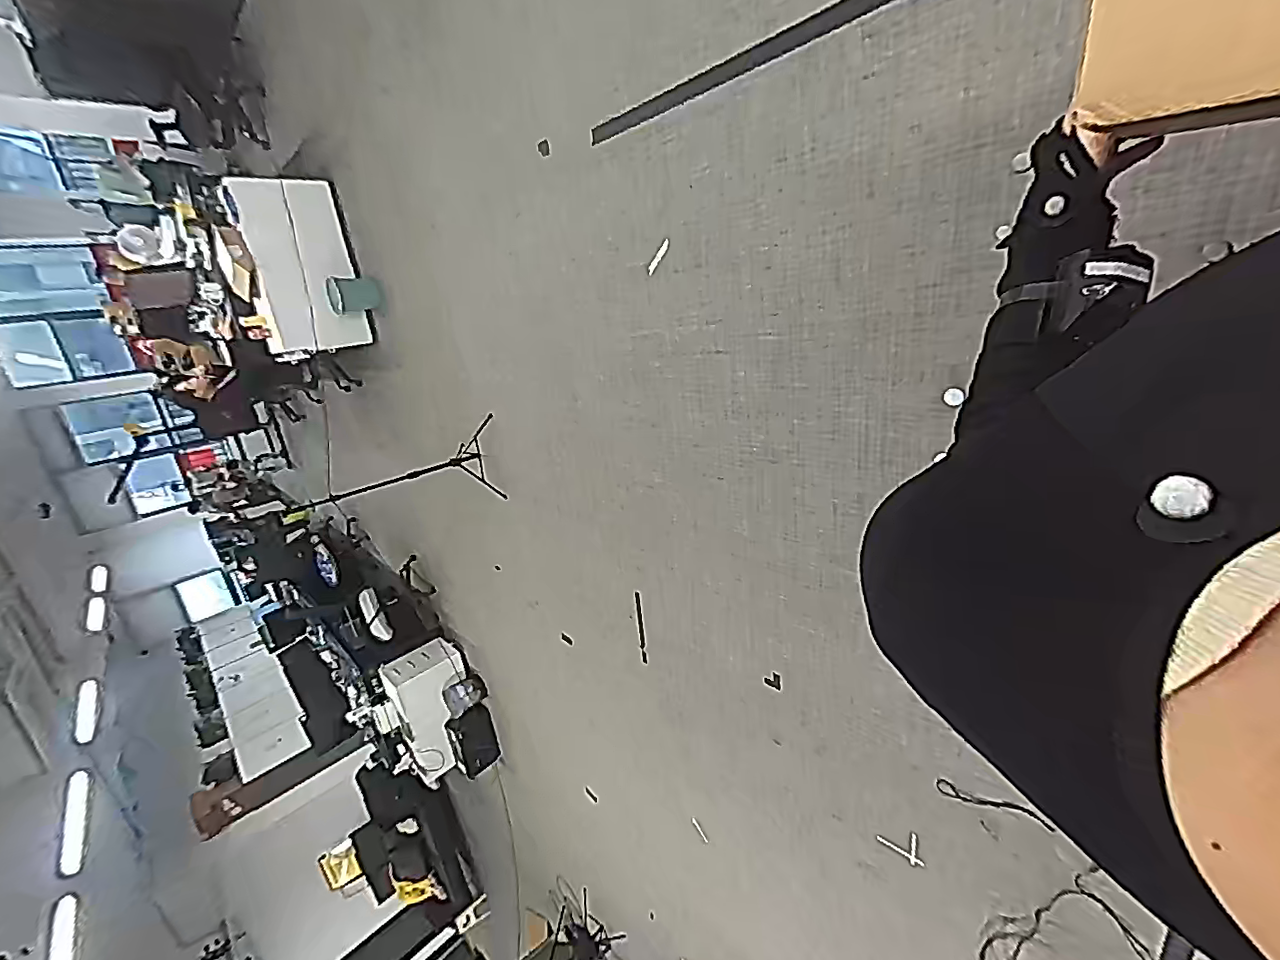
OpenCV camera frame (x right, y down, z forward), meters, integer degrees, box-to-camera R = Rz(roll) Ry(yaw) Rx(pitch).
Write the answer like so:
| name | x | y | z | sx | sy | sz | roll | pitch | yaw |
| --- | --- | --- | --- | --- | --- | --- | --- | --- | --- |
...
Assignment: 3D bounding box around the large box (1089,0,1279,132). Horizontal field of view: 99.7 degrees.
| name | x | y | z | sx | sy | sz | roll | pitch | yaw |
| --- | --- | --- | --- | --- | --- | --- | --- | --- | --- |
| large box | 0.417 | -0.327 | 0.151 | 0.408 | 0.320 | 0.320 | 13 | 123 | 39 |
